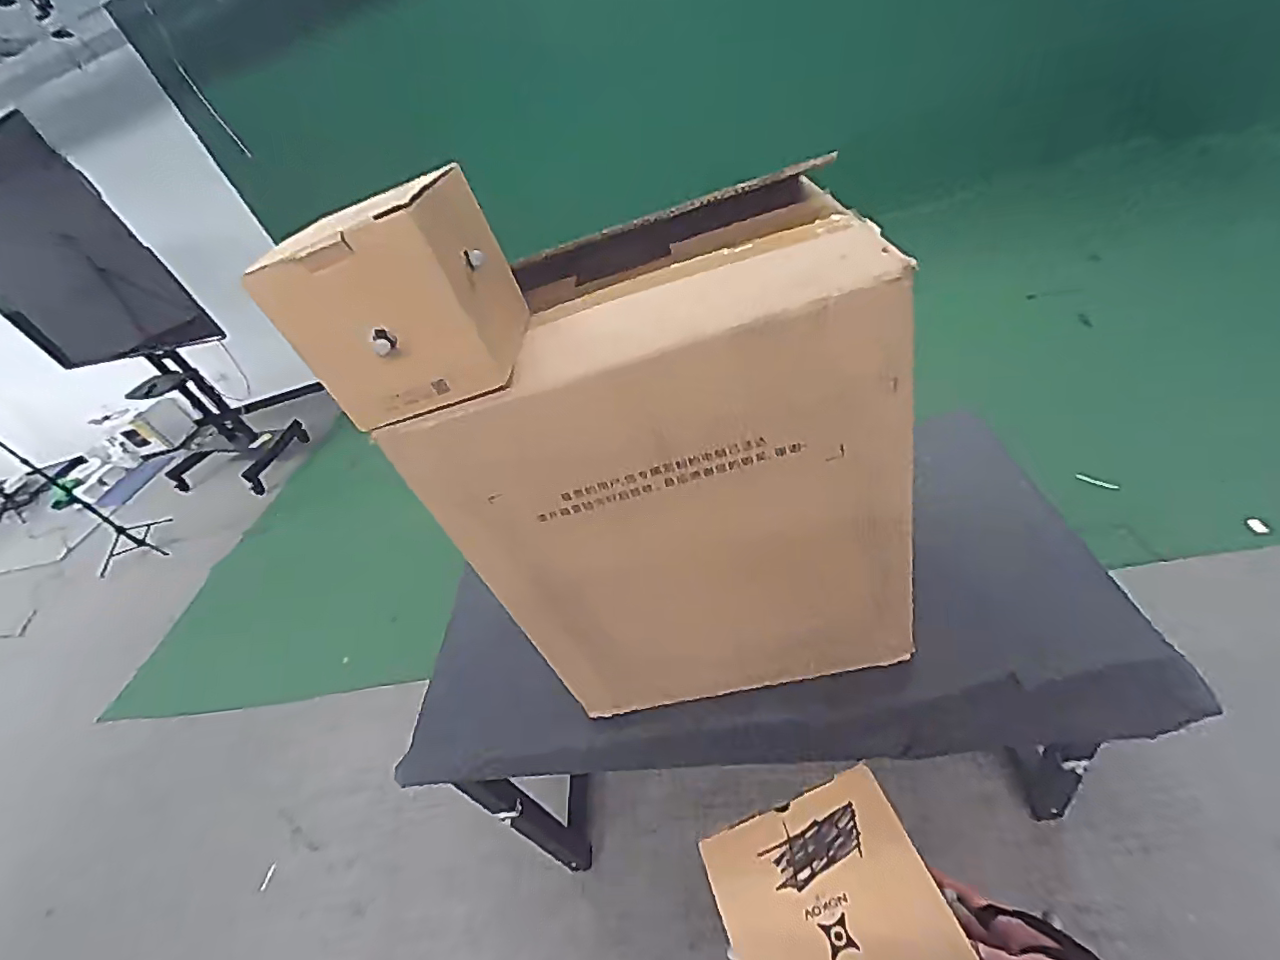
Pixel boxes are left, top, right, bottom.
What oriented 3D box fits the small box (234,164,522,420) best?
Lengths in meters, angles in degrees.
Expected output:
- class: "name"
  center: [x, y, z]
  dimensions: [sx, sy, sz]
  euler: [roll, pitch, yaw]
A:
- class: "small box"
  center: [-0.234, -0.178, 0.541]
  dimensions: [0.168, 0.176, 0.179]
  euler: [-15, 40, 11]
